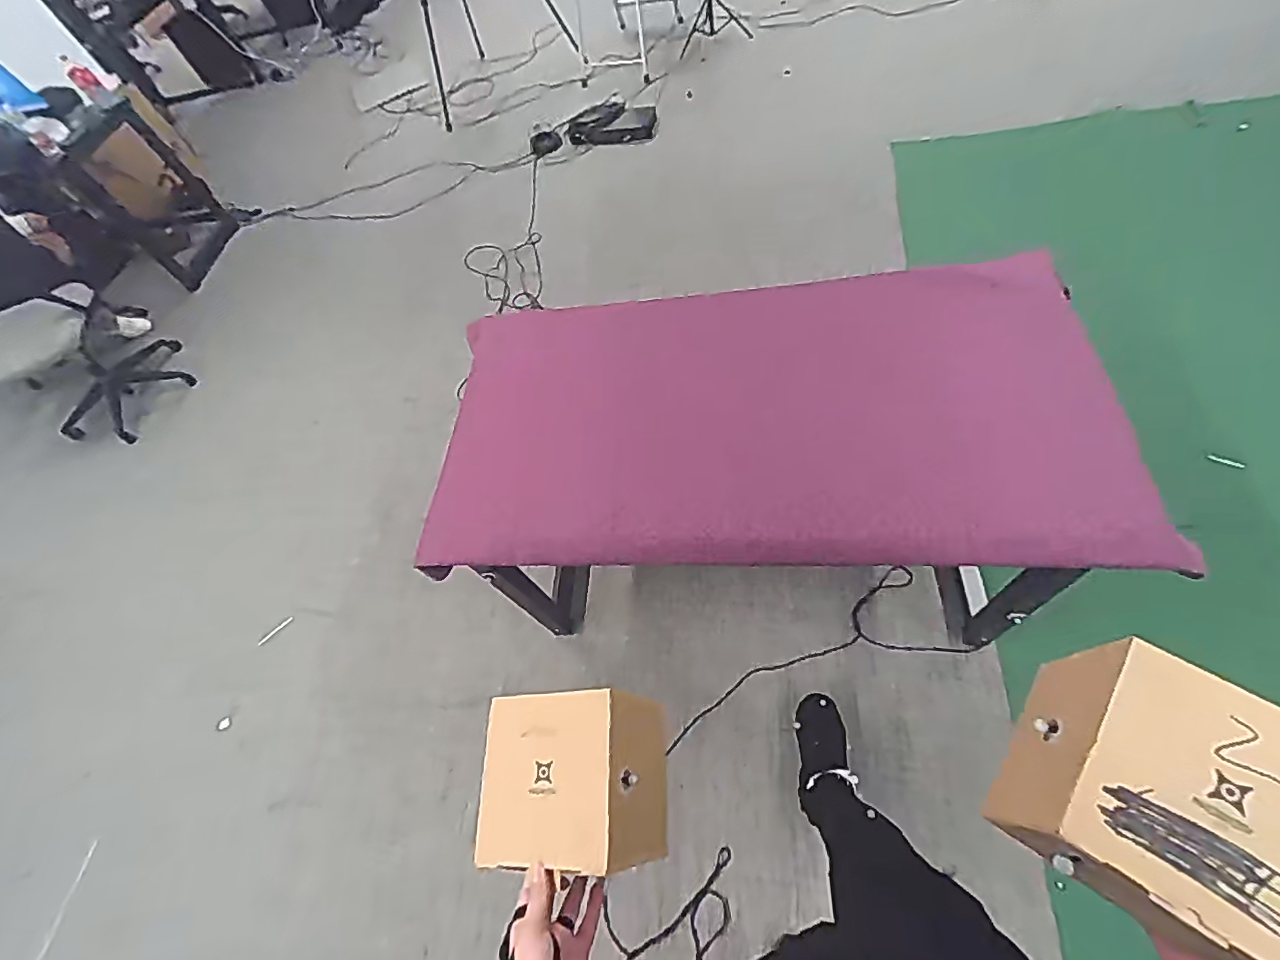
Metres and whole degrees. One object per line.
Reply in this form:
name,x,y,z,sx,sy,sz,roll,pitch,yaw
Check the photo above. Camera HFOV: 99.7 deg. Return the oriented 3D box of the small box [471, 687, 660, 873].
small box,-0.079,0.360,0.665,0.168,0.176,0.179,-12,59,20
